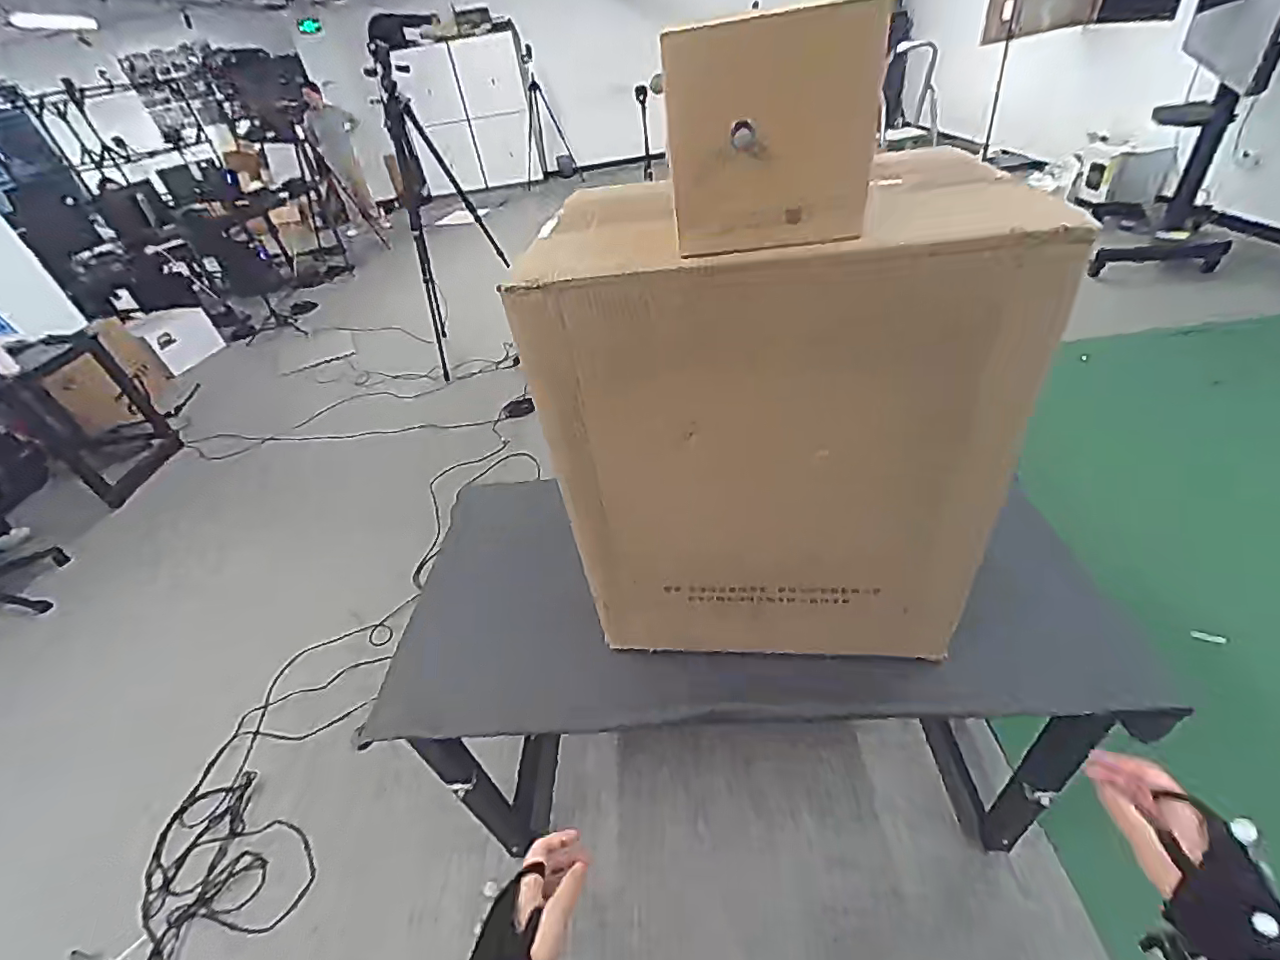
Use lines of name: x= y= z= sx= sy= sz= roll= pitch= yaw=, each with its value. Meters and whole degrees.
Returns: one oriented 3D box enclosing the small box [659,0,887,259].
small box: x=0.114 y=-0.316 z=0.502 sx=0.168 sy=0.176 sz=0.179 roll=-3 pitch=41 yaw=9
